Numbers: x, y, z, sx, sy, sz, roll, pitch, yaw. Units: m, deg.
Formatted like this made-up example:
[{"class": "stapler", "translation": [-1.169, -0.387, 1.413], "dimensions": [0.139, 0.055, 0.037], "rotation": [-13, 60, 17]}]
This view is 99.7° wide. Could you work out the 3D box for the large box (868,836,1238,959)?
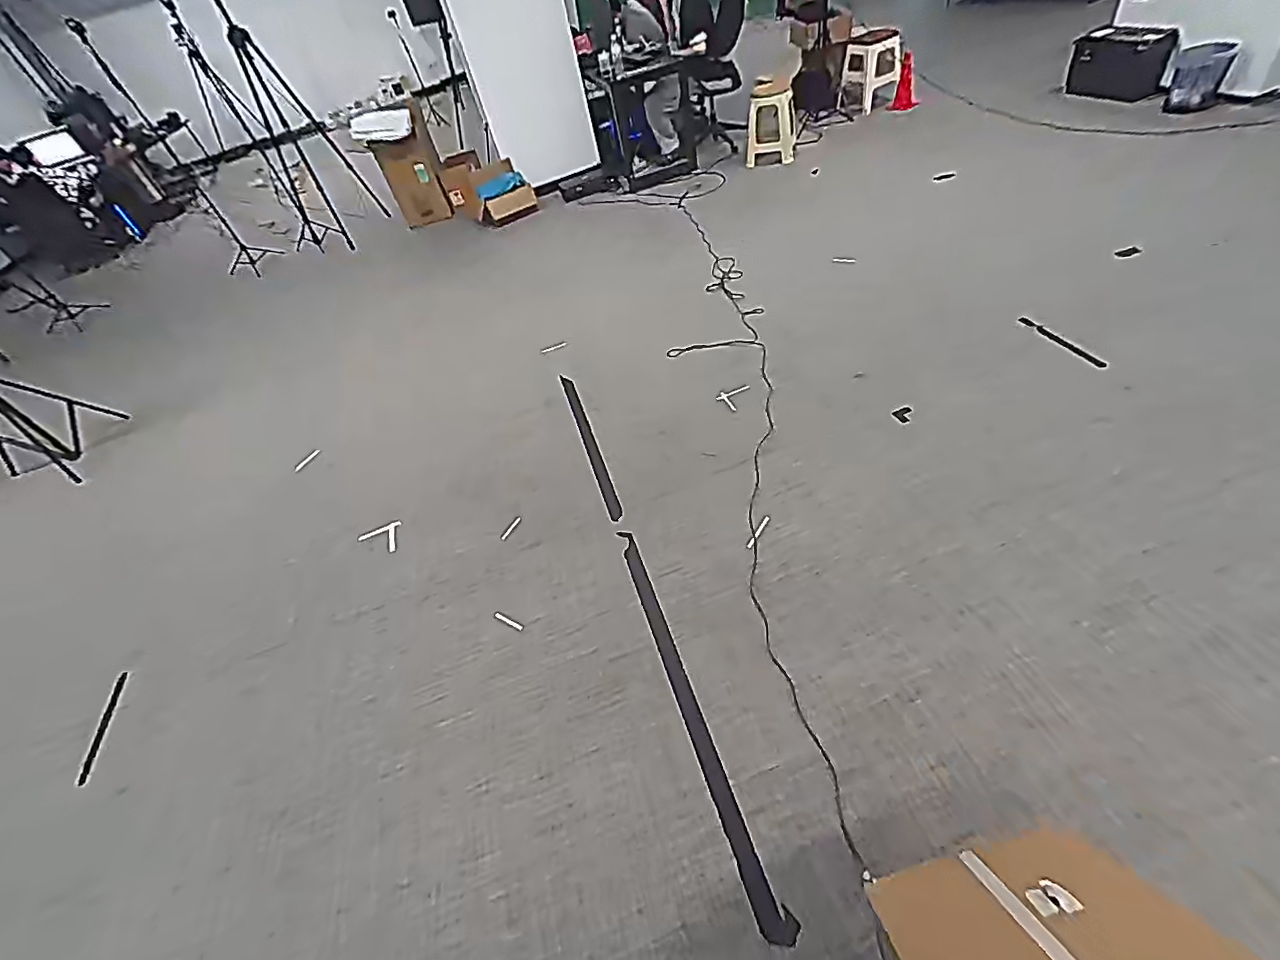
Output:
[{"class": "large box", "translation": [0.513, 0.682, 0.580], "dimensions": [0.320, 0.408, 0.320], "rotation": [-18, 80, 2]}]
